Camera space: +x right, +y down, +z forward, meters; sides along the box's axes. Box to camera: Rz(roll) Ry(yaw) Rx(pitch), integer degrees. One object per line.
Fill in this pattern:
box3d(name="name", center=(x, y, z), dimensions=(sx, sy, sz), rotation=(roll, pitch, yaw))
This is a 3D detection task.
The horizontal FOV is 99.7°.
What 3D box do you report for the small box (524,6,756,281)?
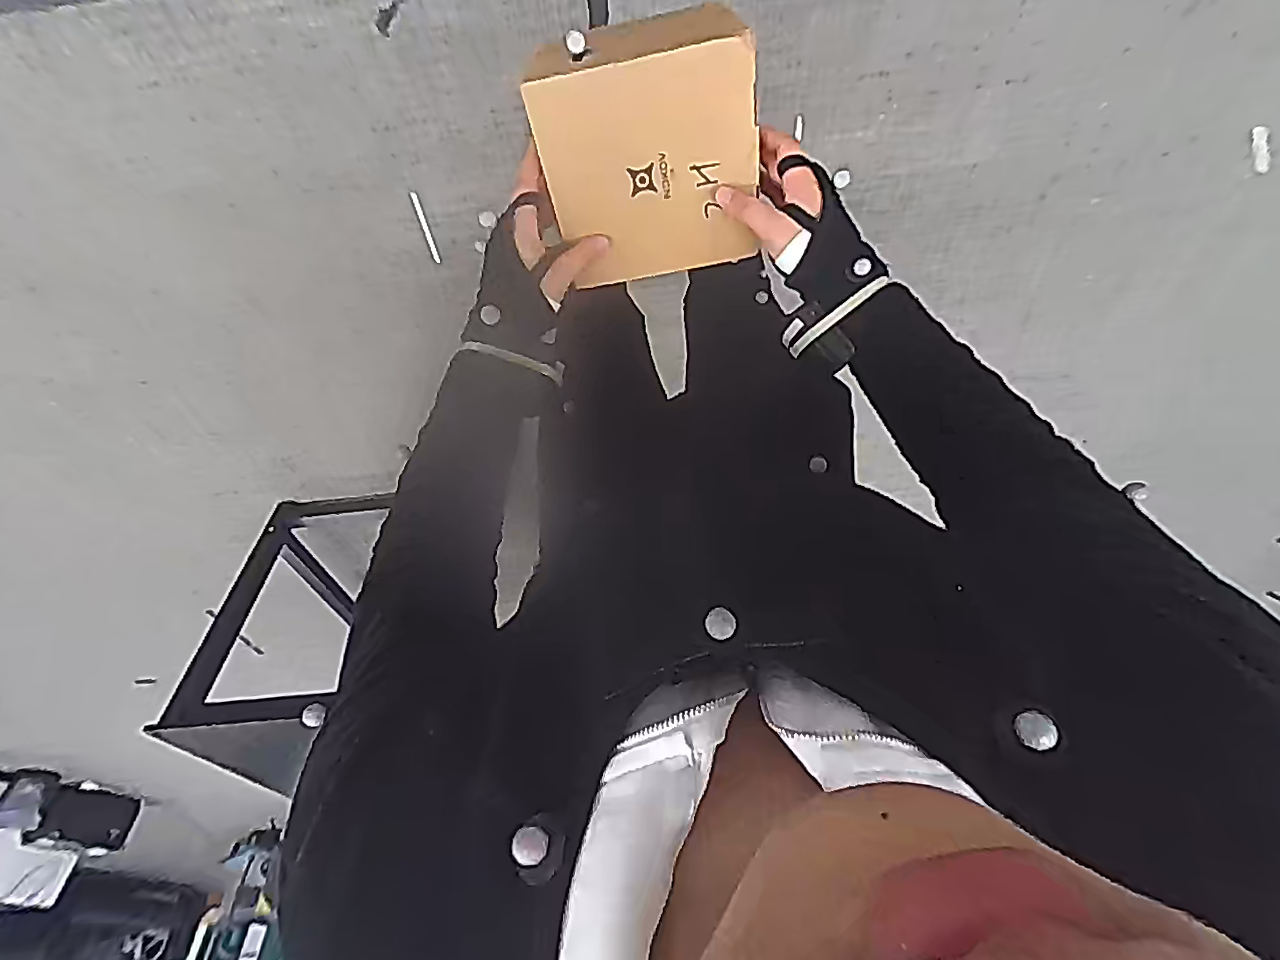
box3d(name="small box", center=(0.007, -0.313, 0.506), dimensions=(0.179, 0.176, 0.168), rotation=(-9, 137, 5))
